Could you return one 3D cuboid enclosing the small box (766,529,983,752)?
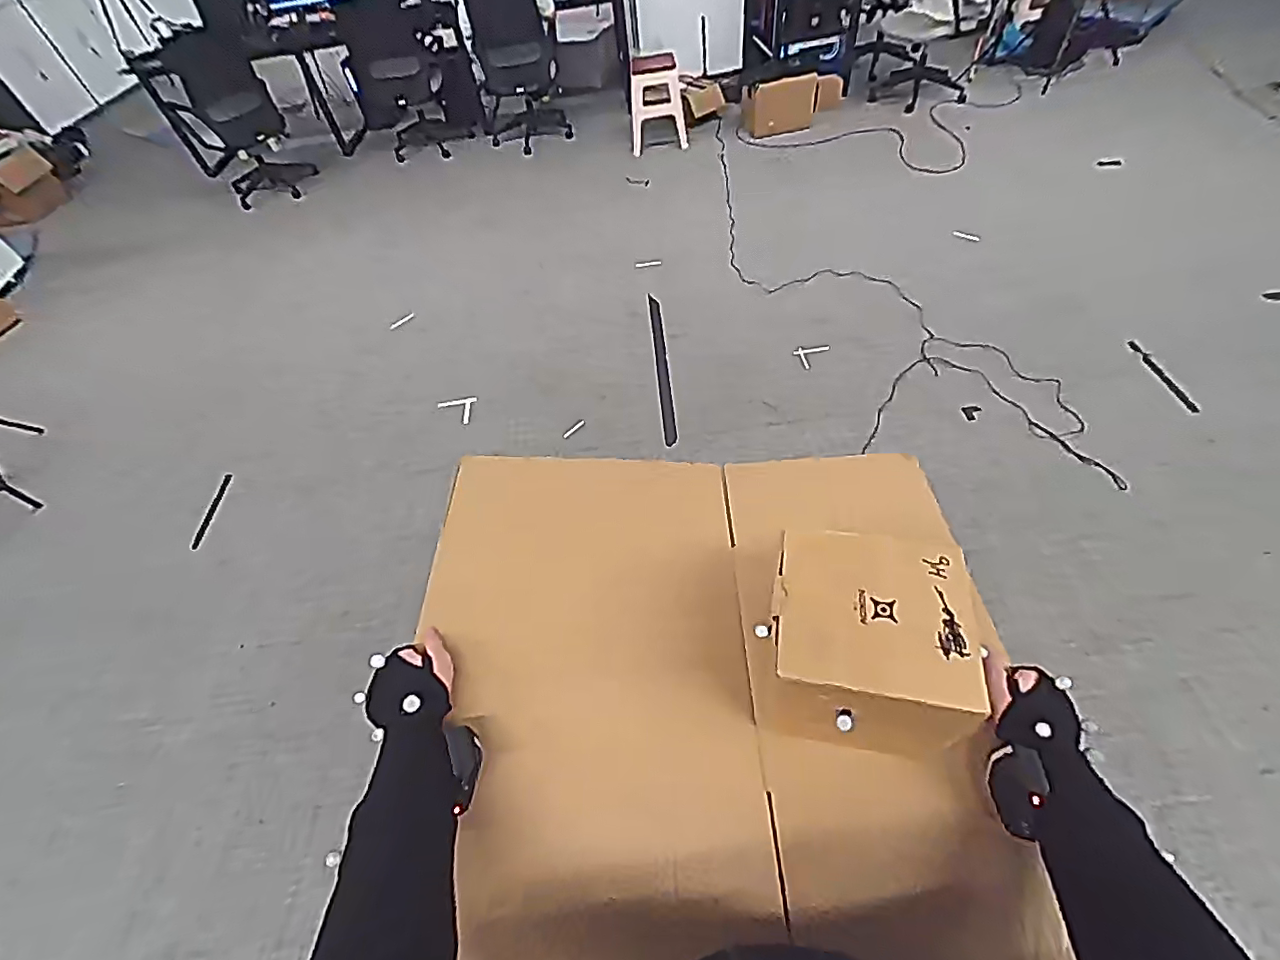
[{"bbox_3d":[0.232,0.173,0.580,0.179,0.176,0.168,5,52,13],"label":"small box"}]
